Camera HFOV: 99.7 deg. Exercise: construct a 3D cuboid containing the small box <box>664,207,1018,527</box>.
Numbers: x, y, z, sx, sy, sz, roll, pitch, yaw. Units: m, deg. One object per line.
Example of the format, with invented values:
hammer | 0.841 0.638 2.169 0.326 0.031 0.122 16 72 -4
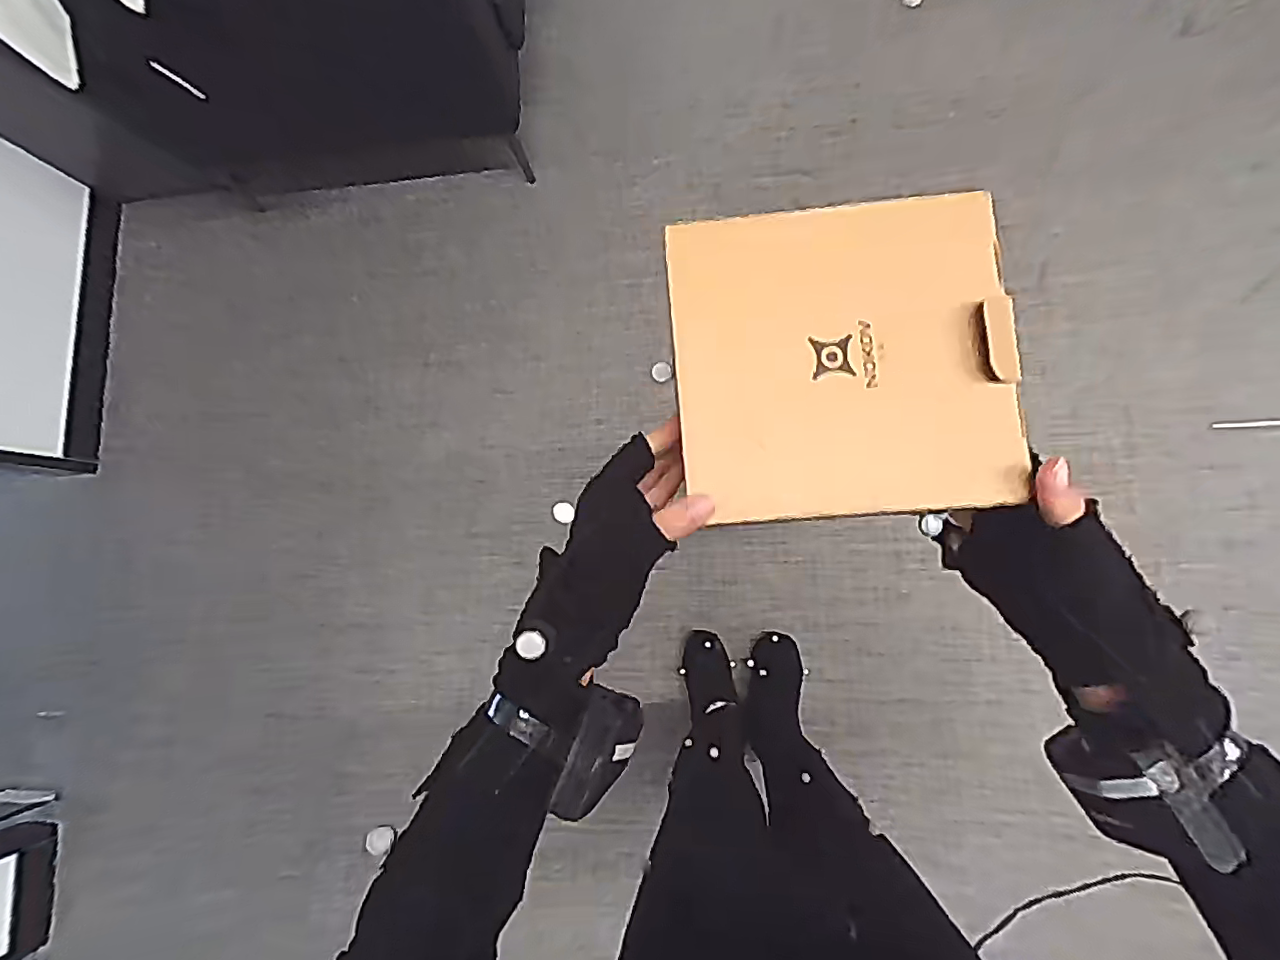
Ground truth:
small box | 0.110 -0.056 0.374 0.179 0.176 0.168 -4 84 2
